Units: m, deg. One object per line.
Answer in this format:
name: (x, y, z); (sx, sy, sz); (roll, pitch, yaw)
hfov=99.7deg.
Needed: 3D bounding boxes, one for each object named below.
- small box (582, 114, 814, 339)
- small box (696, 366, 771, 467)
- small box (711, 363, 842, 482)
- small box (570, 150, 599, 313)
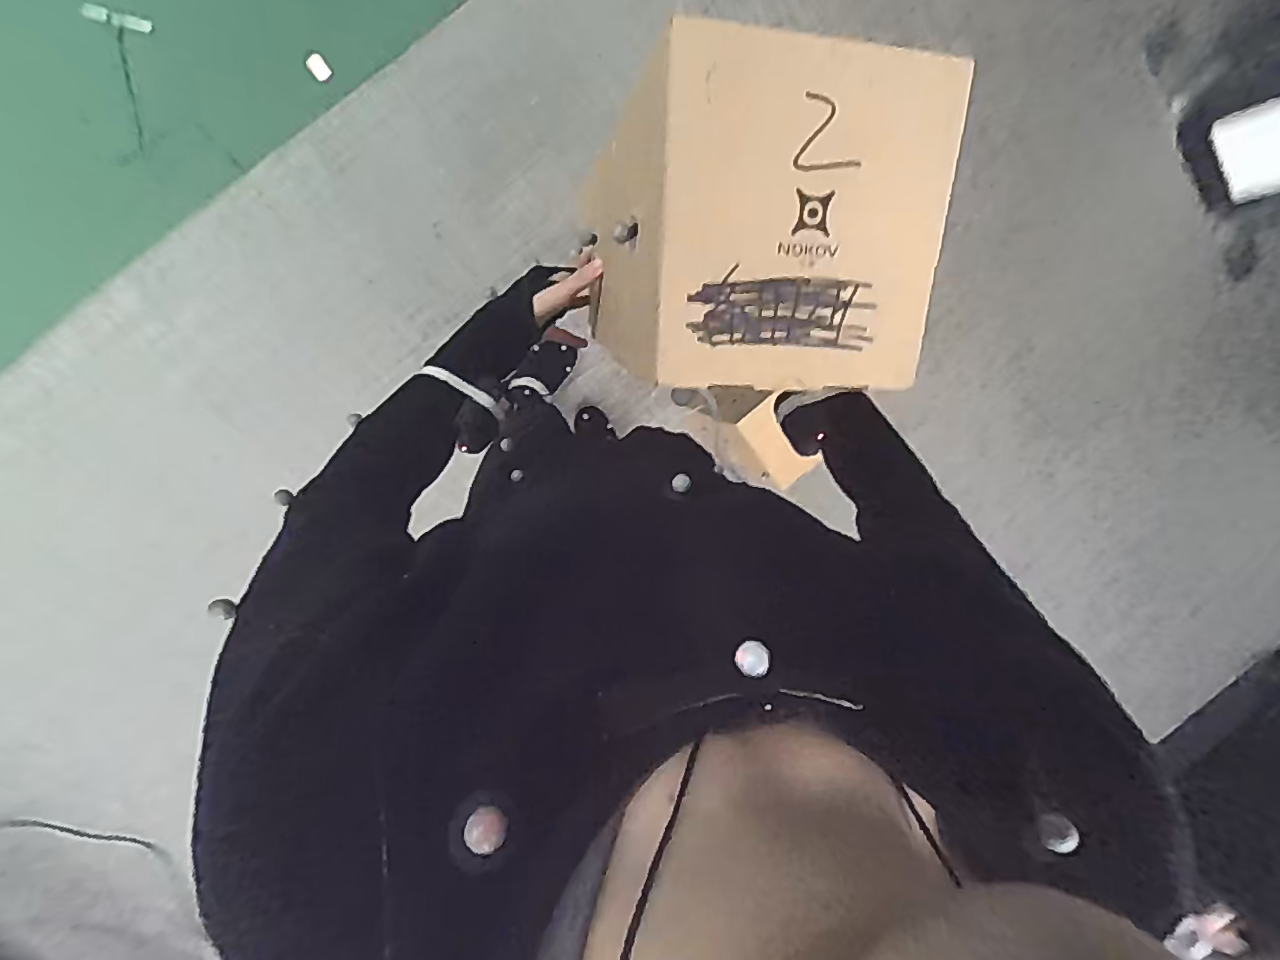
small box: (0.040, -0.228, 0.523); (0.179, 0.176, 0.168); (-3, 109, -10)
small box: (0.261, -0.155, 1.283); (0.168, 0.176, 0.179); (-41, 105, 0)
small box: (0.273, -0.123, 1.123); (0.168, 0.176, 0.179); (-39, 106, -1)
small box: (0.010, -0.293, 0.670); (0.179, 0.176, 0.168); (-4, 109, -10)
